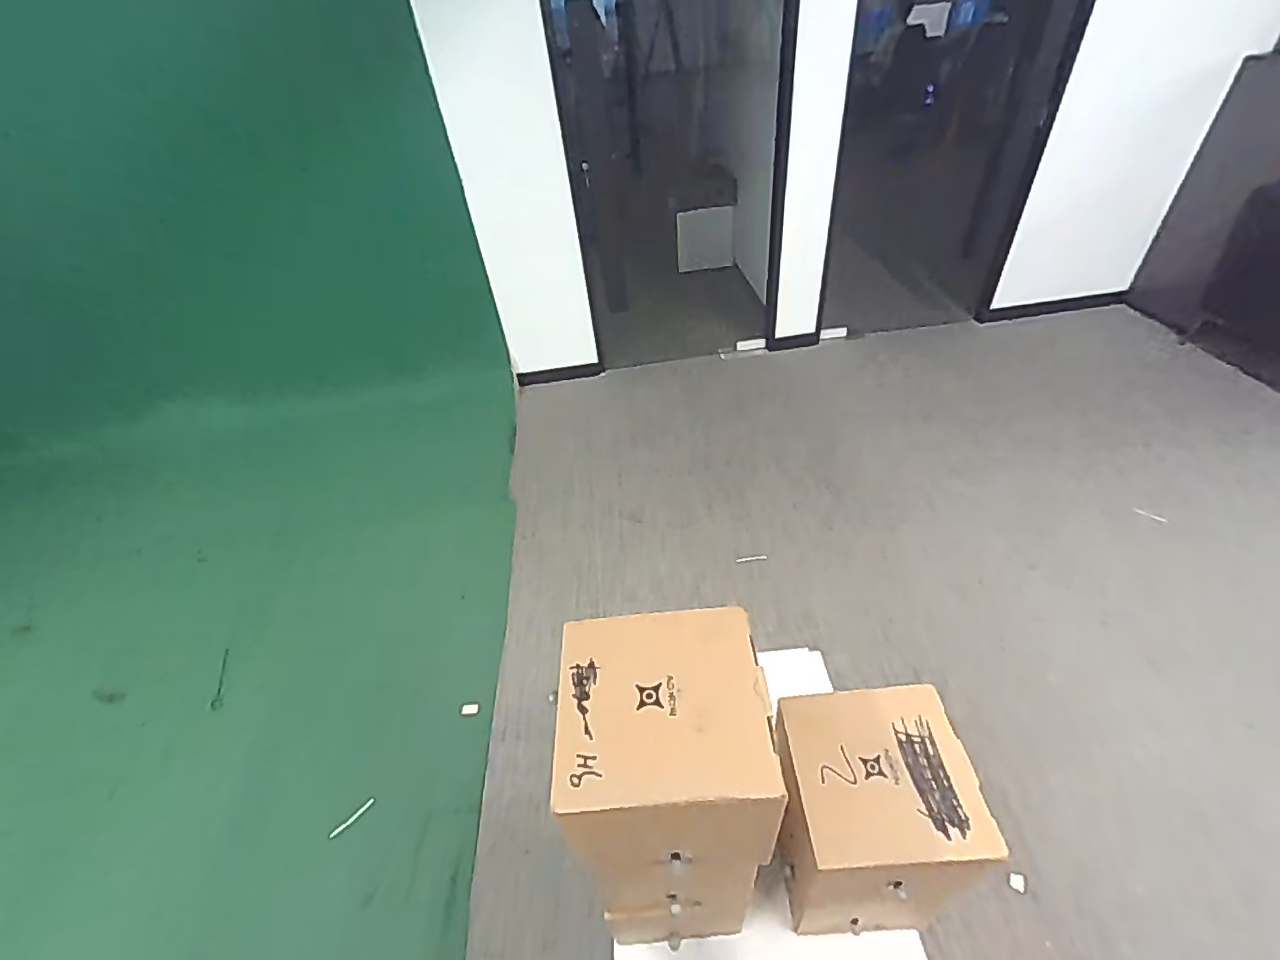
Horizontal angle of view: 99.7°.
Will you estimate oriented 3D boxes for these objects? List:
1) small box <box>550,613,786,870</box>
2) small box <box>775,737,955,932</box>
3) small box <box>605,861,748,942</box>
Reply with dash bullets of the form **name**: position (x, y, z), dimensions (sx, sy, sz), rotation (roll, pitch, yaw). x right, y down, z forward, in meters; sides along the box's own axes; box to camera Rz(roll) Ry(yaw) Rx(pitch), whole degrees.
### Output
- **small box**: position (0.024, 0.244, 0.506), dimensions (0.179, 0.176, 0.168), rotation (-4, 41, 2)
- **small box**: position (0.274, 0.467, 0.715), dimensions (0.168, 0.176, 0.179), rotation (-6, 42, 3)
- **small box**: position (0.043, 0.488, 0.726), dimensions (0.168, 0.176, 0.179), rotation (-6, 42, 1)
